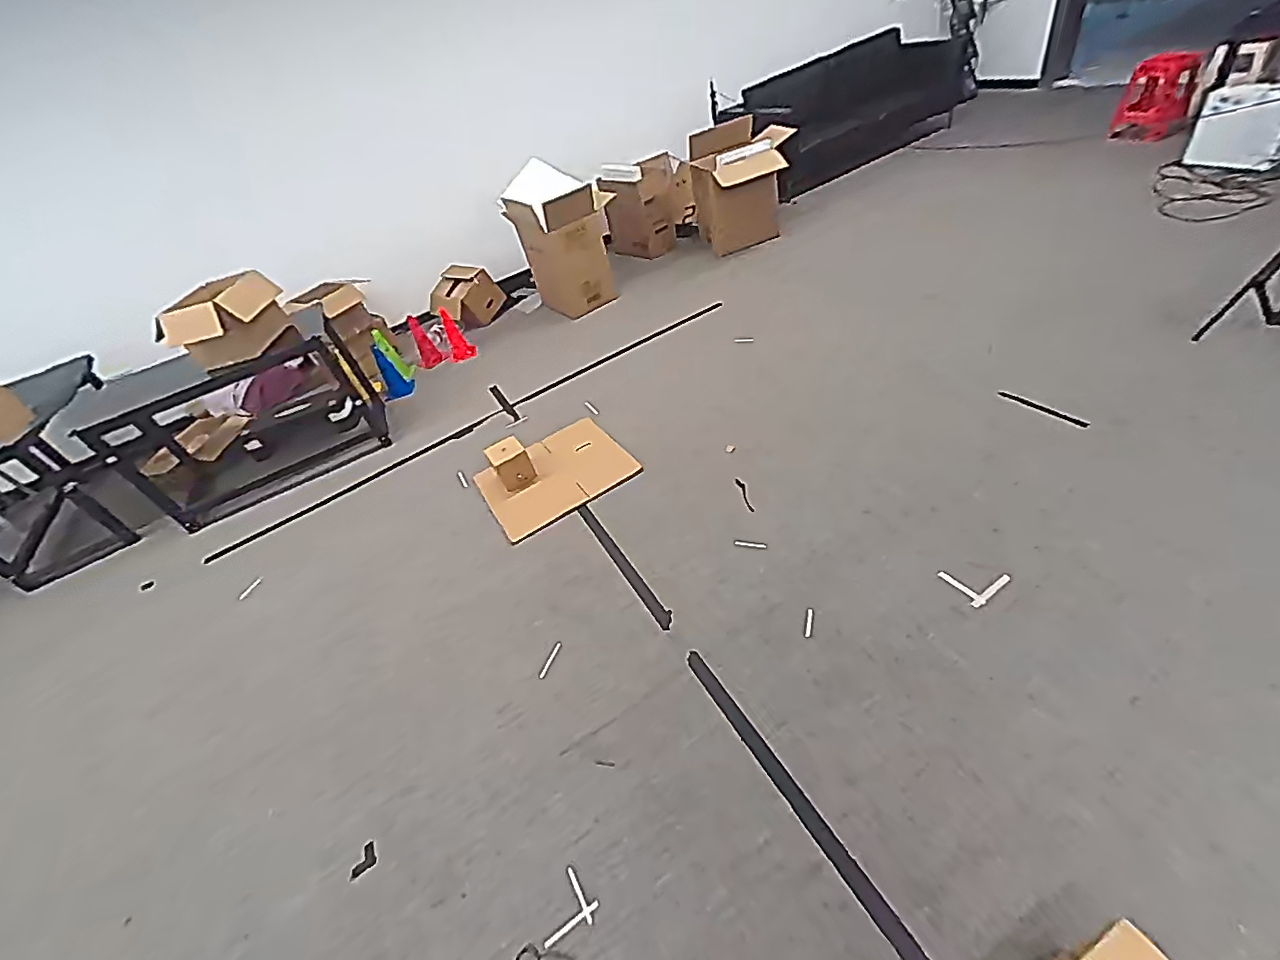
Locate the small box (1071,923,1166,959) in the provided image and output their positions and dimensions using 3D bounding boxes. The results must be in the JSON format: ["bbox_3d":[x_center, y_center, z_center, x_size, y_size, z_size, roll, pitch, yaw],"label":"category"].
[{"bbox_3d":[0.810,0.885,0.886,0.168,0.176,0.179,-28,41,-14],"label":"small box"}]

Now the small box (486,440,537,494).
[{"bbox_3d":[-0.633,-0.062,2.673,0.168,0.176,0.179,-31,43,-15],"label":"small box"}]
